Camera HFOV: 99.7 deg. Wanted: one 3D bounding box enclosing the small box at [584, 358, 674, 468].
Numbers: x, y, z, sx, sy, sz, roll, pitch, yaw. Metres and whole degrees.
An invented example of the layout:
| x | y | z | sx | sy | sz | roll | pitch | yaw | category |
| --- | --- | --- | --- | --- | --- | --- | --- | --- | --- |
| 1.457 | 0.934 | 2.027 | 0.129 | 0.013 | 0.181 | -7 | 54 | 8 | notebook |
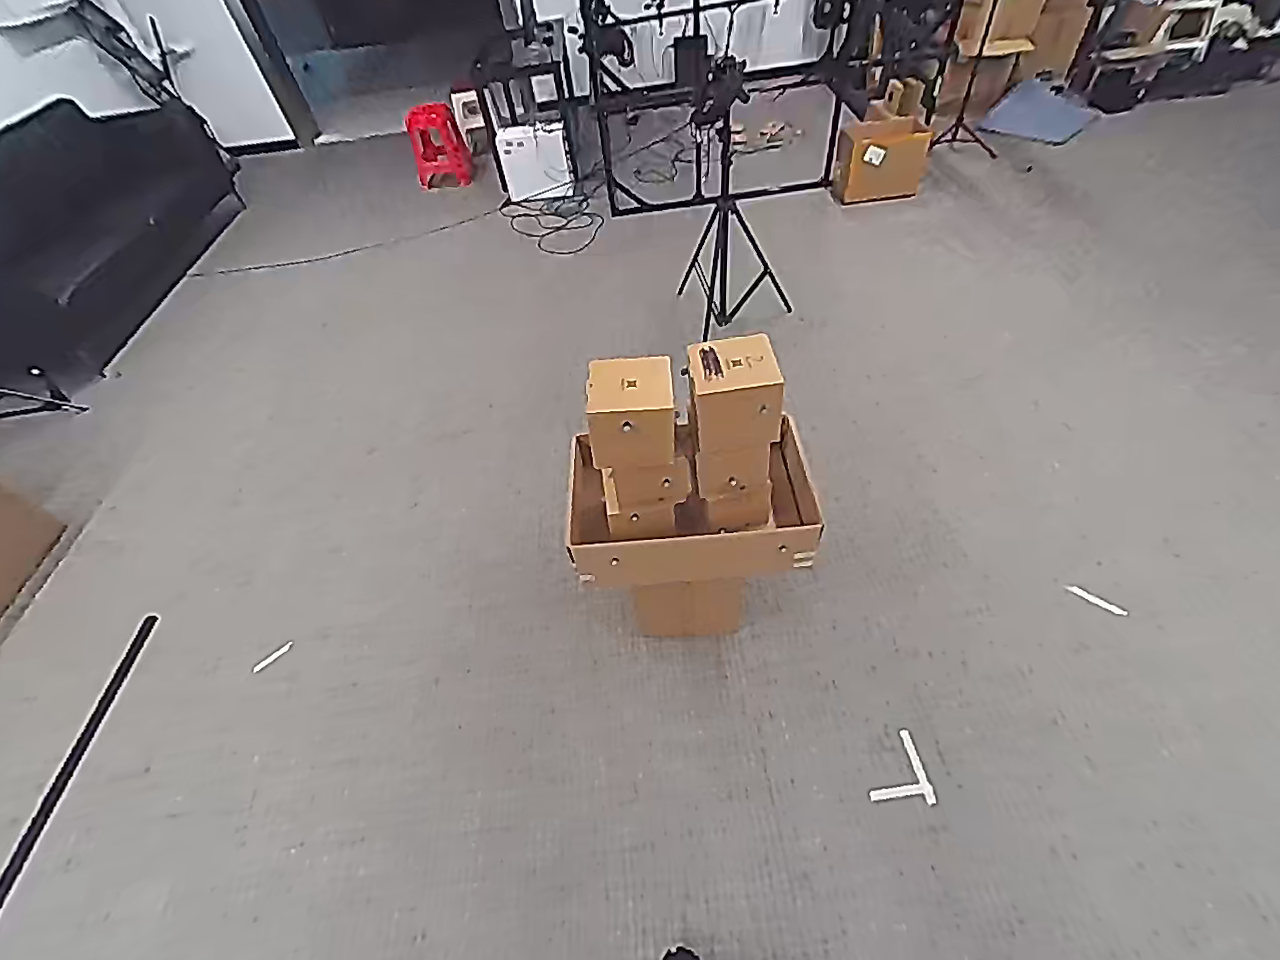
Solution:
| x | y | z | sx | sy | sz | roll | pitch | yaw | category |
| --- | --- | --- | --- | --- | --- | --- | --- | --- | --- |
| -0.018 | -0.140 | 1.159 | 0.179 | 0.176 | 0.168 | -4 | 50 | 3 | small box |

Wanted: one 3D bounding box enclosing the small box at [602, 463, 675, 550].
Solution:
| x | y | z | sx | sy | sz | roll | pitch | yaw | category |
| --- | --- | --- | --- | --- | --- | --- | --- | --- | --- |
| -0.005 | 0.059 | 1.416 | 0.168 | 0.176 | 0.179 | -10 | 50 | -1 | small box |
